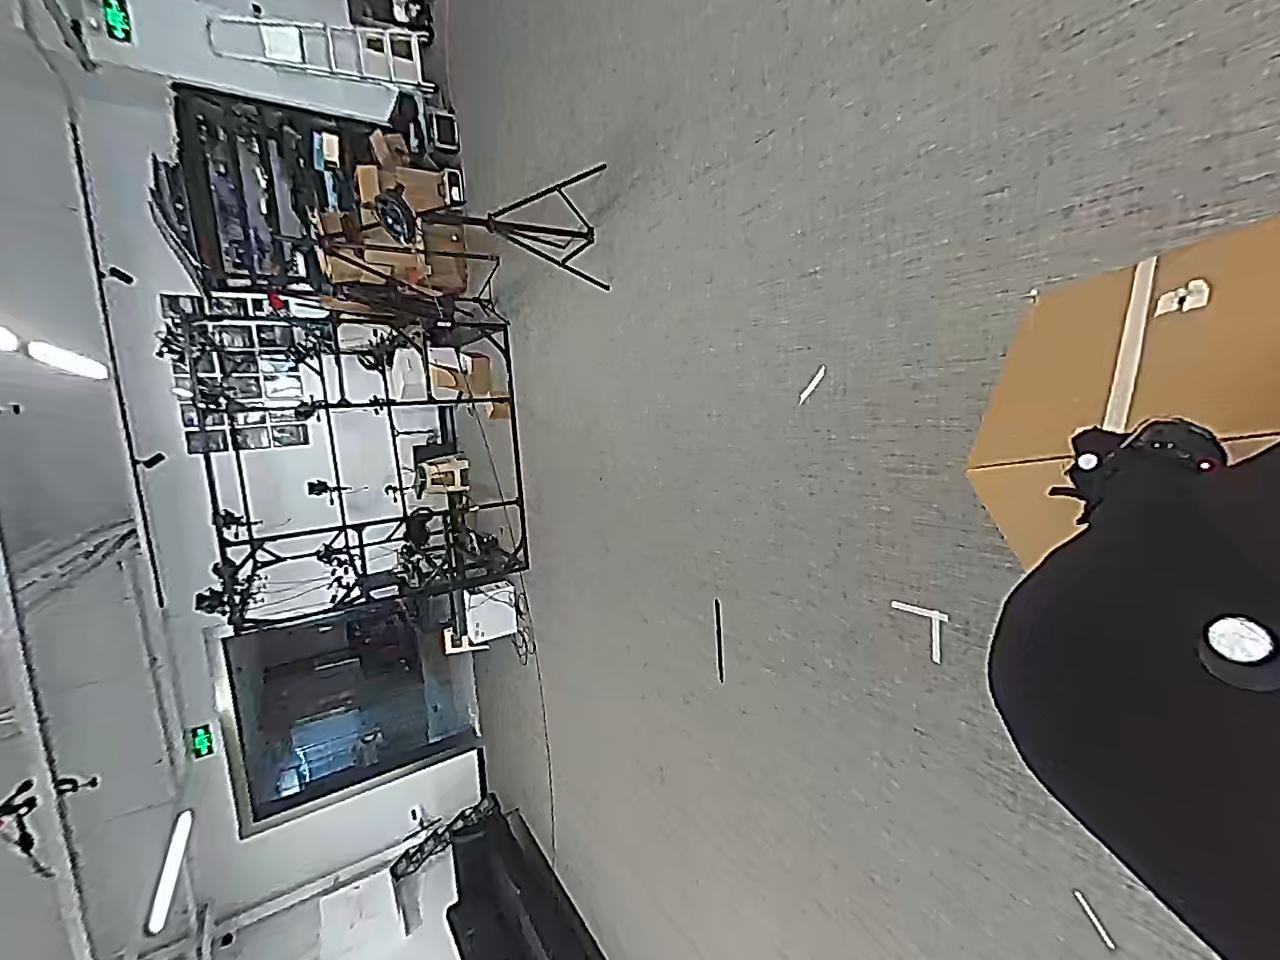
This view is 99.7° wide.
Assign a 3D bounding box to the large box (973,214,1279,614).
[{"bbox_3d":[0.727,-0.074,0.738,0.320,0.408,0.320,48,152,-21],"label":"large box"}]
